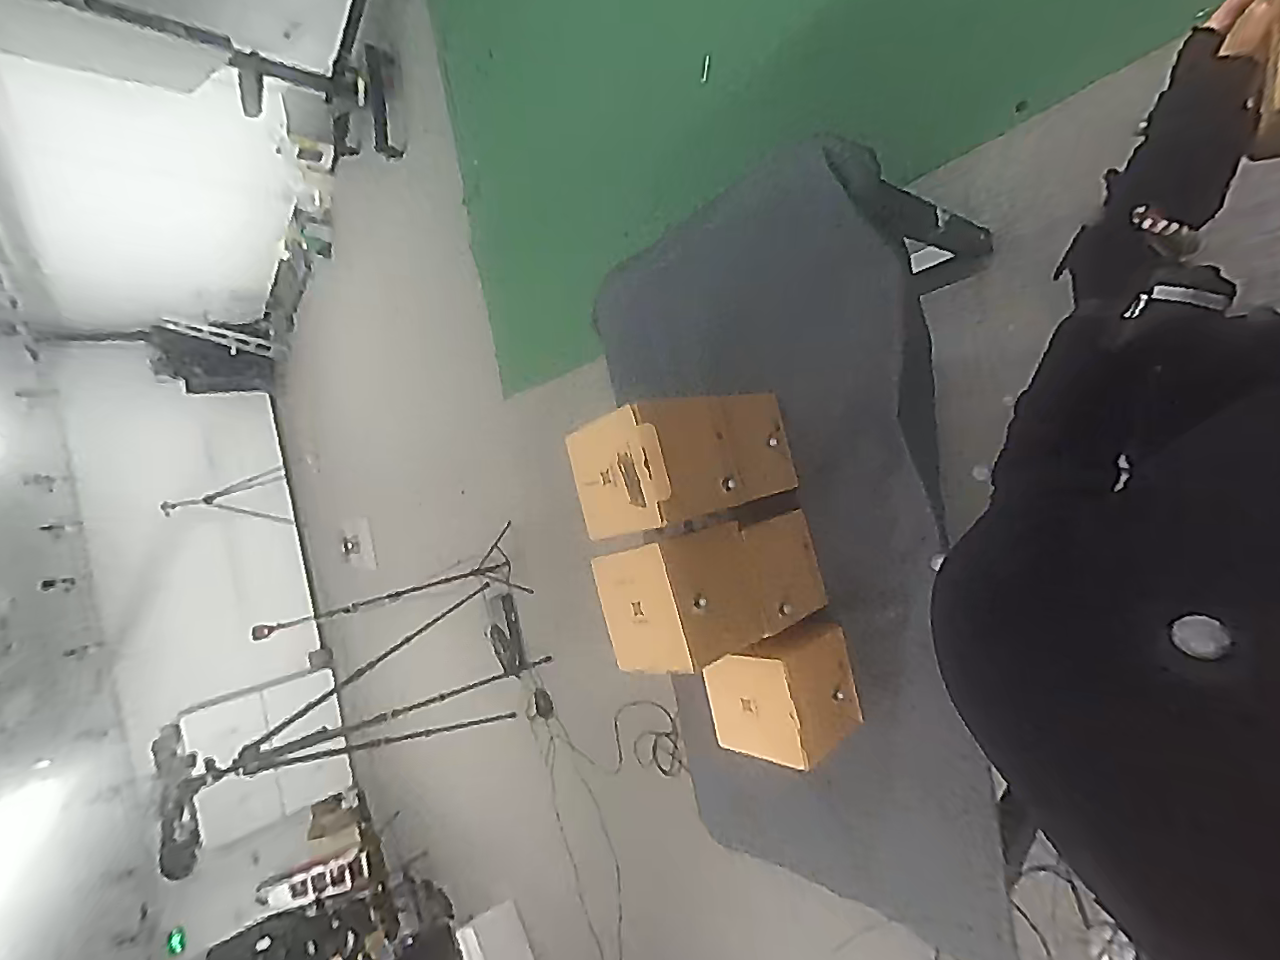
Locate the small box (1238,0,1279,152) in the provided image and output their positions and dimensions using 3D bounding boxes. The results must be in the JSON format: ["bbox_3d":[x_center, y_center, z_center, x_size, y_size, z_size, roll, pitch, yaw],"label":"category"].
[{"bbox_3d":[0.459,-0.299,0.281,0.179,0.176,0.168,7,107,43],"label":"small box"}]
